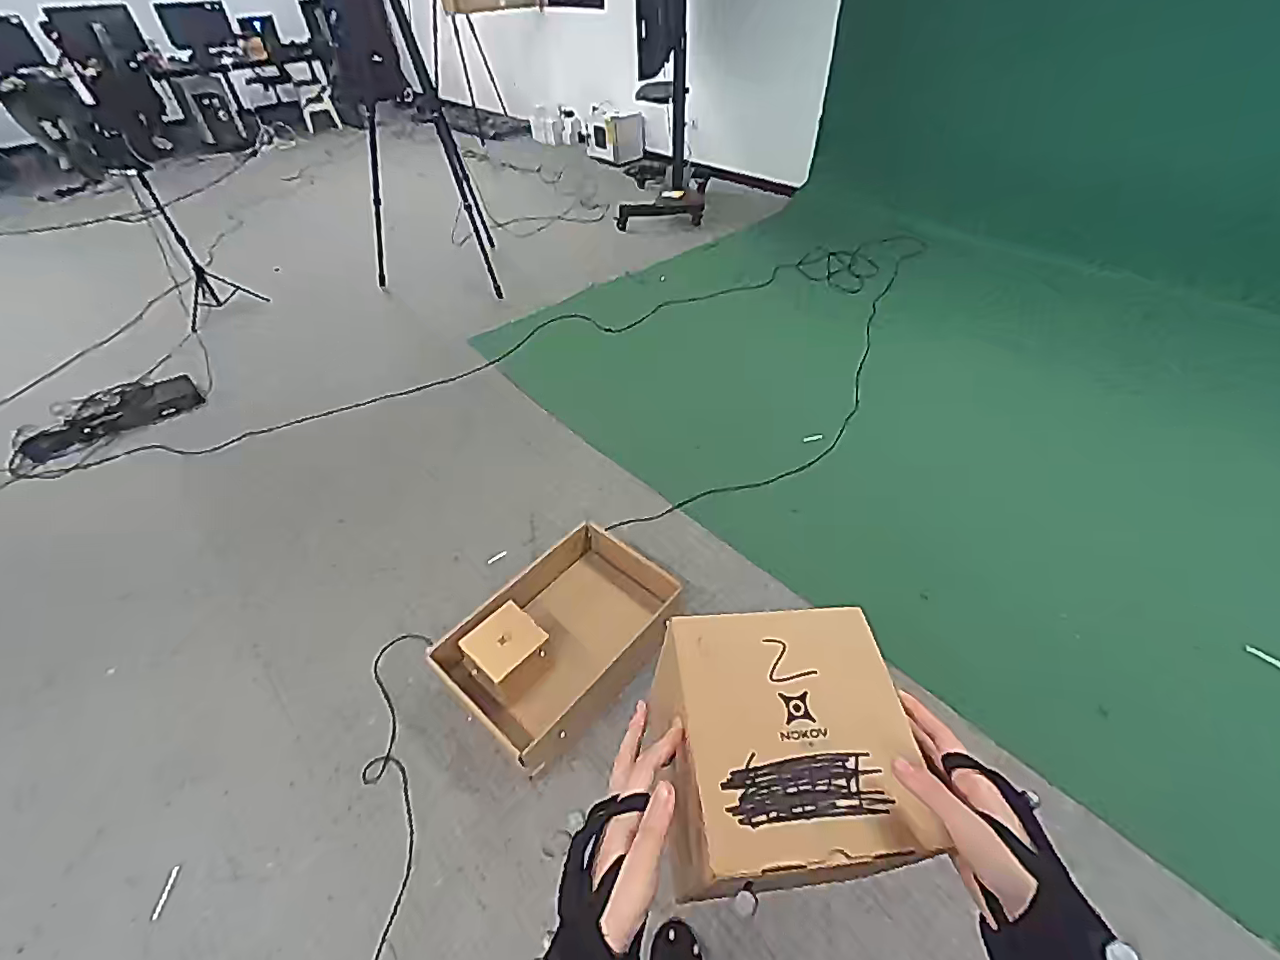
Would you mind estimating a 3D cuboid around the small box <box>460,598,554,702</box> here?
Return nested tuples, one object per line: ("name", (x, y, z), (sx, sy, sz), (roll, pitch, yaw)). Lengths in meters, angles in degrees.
("small box", (-0.354, 0.466, 1.469), (0.168, 0.176, 0.179), (32, 54, 28))
